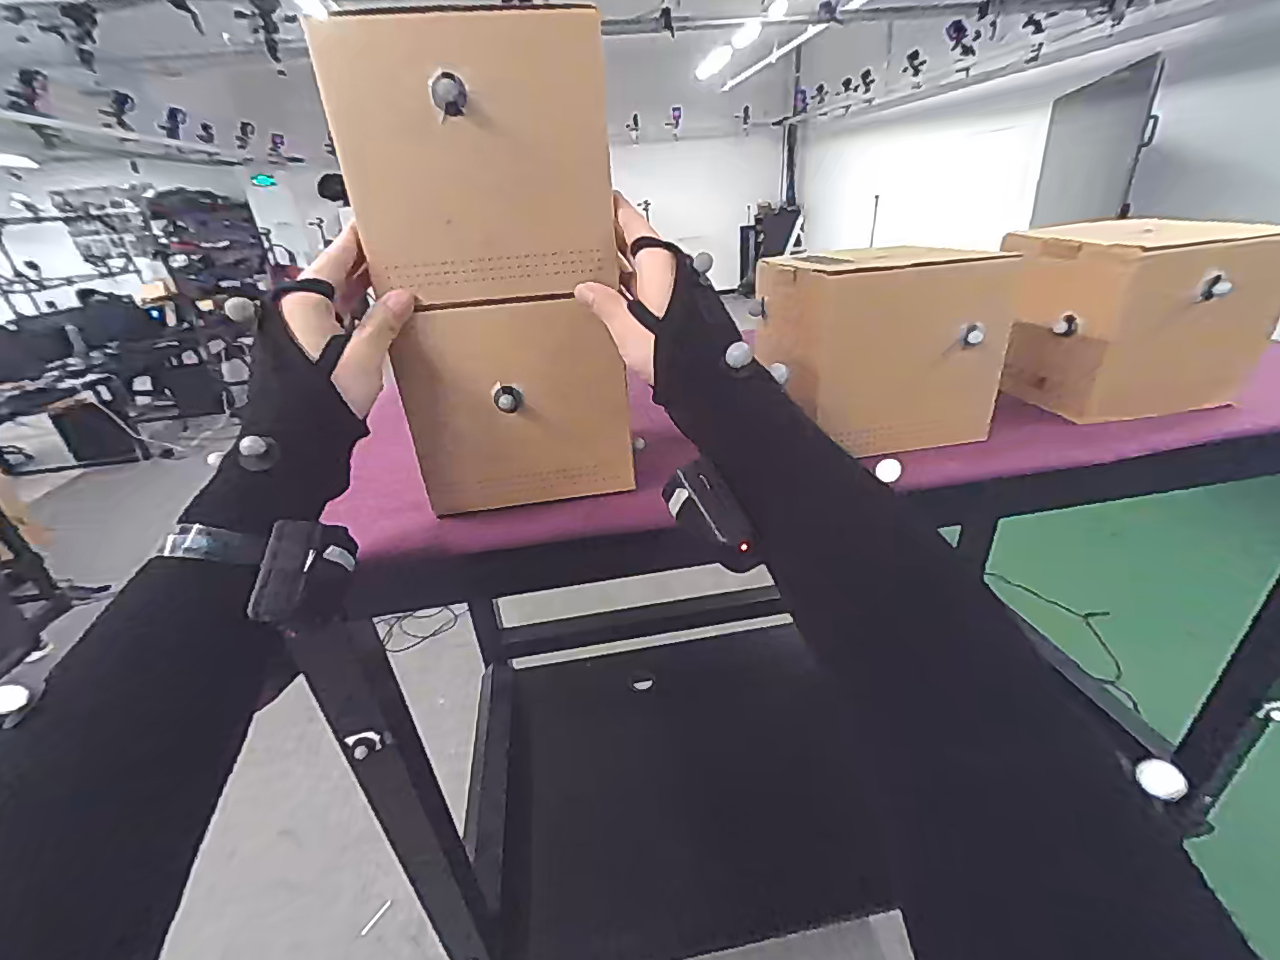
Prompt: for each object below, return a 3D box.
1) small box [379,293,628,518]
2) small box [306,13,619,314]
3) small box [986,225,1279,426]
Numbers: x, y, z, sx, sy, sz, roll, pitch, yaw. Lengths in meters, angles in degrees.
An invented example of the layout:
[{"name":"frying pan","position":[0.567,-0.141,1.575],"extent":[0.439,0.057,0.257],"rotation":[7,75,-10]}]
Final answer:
[{"name":"small box","position":[-0.107,-0.082,0.499],"extent":[0.179,0.176,0.168],"rotation":[-8,25,-6]},{"name":"small box","position":[-0.116,-0.231,0.429],"extent":[0.179,0.176,0.168],"rotation":[-6,26,-5]},{"name":"small box","position":[0.500,-0.164,0.566],"extent":[0.179,0.176,0.168],"rotation":[-7,29,-4]}]
